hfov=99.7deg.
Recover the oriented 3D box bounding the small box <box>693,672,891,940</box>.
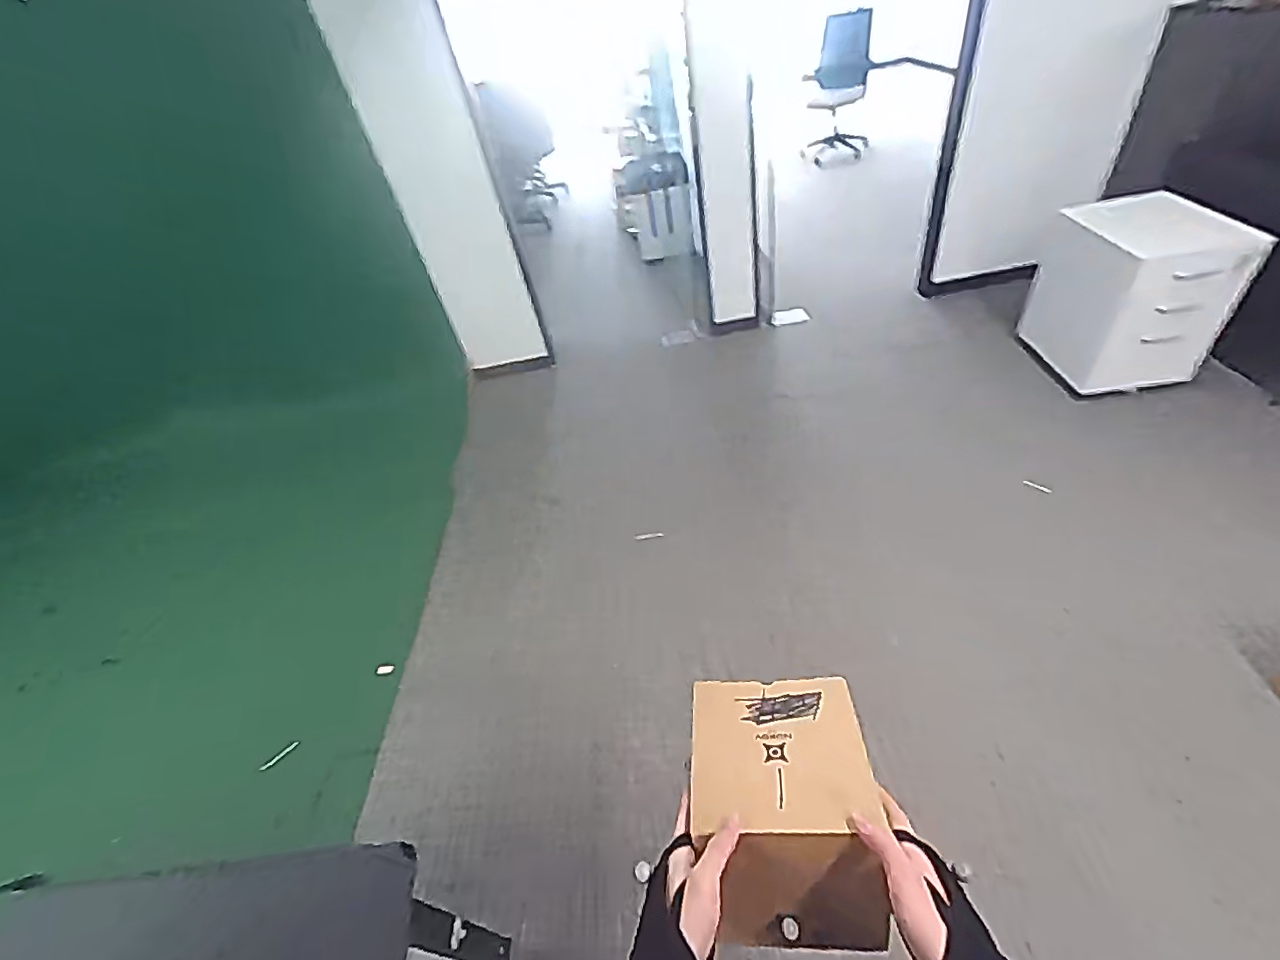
[{"bbox_3d":[0.148,0.326,0.564,0.168,0.176,0.179,-5,25,10],"label":"small box"}]
